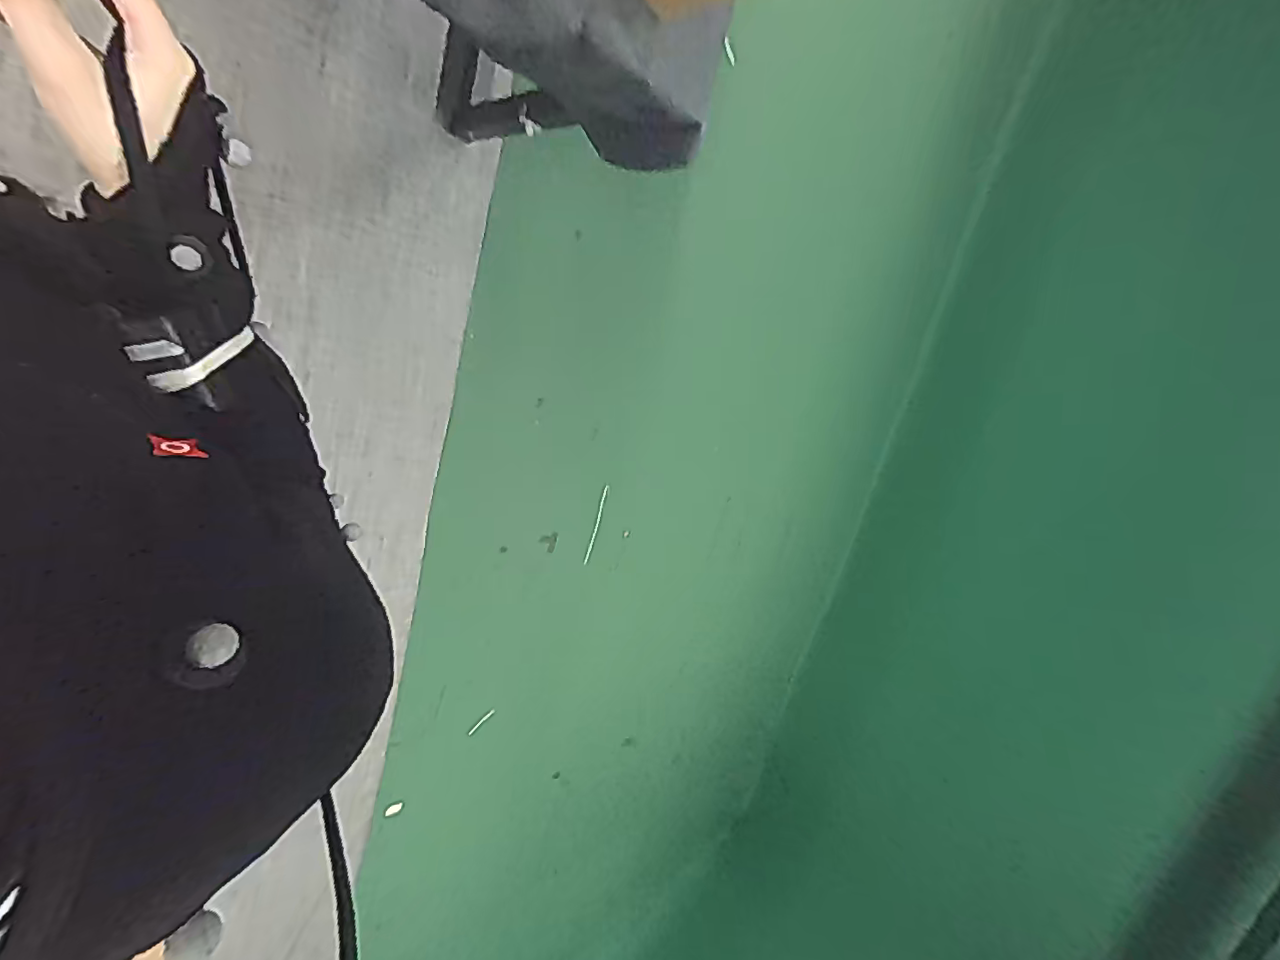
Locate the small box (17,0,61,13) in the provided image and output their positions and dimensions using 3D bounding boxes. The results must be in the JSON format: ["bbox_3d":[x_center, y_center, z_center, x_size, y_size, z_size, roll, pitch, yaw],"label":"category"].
[{"bbox_3d":[-0.317,-0.319,0.191,0.168,0.176,0.179,5,119,-48],"label":"small box"}]
